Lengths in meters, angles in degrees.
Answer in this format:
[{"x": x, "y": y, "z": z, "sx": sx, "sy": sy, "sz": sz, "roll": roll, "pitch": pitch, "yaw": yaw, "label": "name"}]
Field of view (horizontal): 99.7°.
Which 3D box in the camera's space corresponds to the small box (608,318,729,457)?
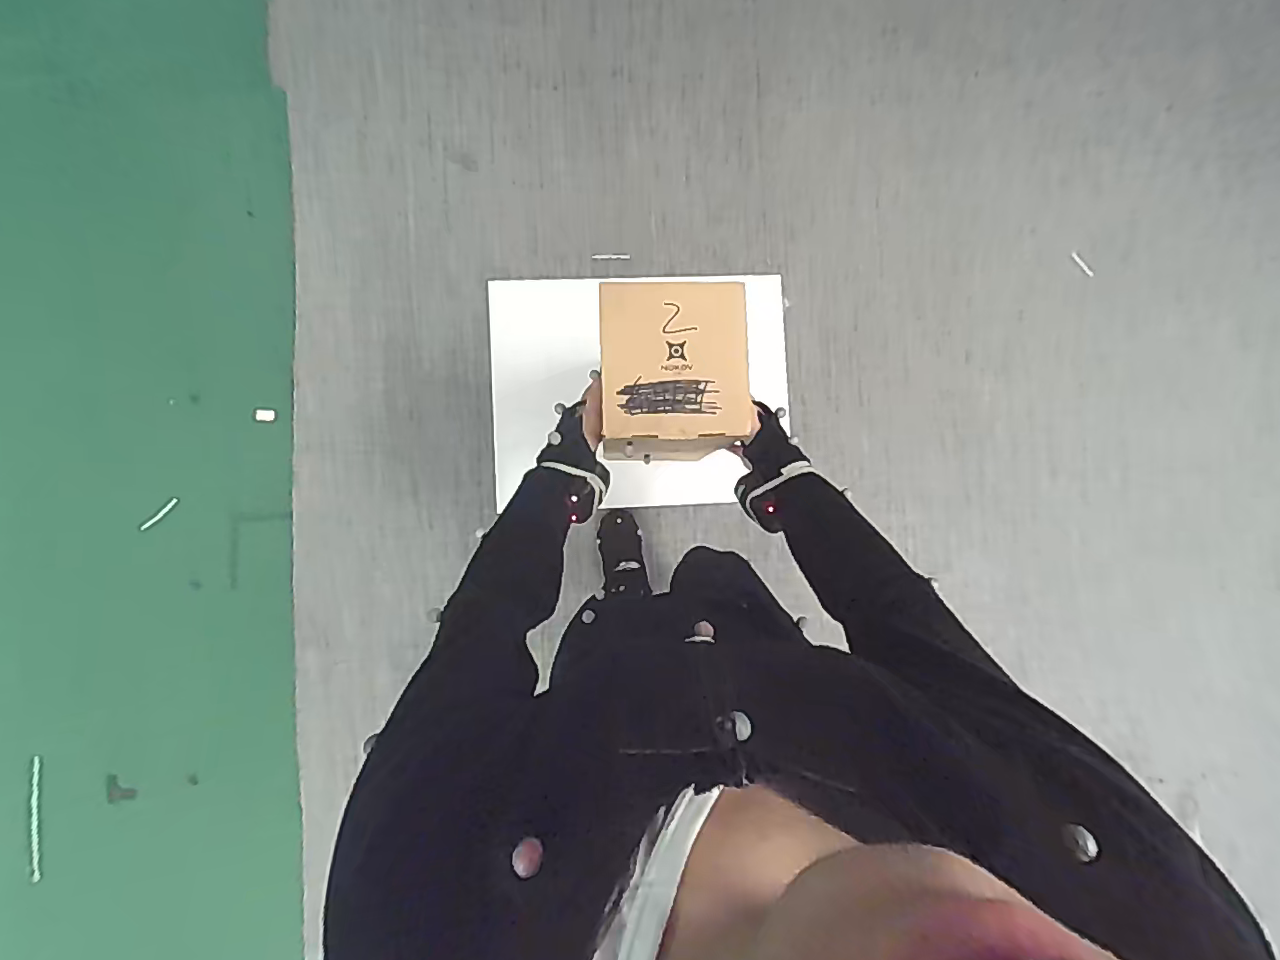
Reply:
[{"x": 0.036, "y": -0.132, "z": 0.823, "sx": 0.168, "sy": 0.176, "sz": 0.179, "roll": 0, "pitch": 87, "yaw": -3, "label": "small box"}]
